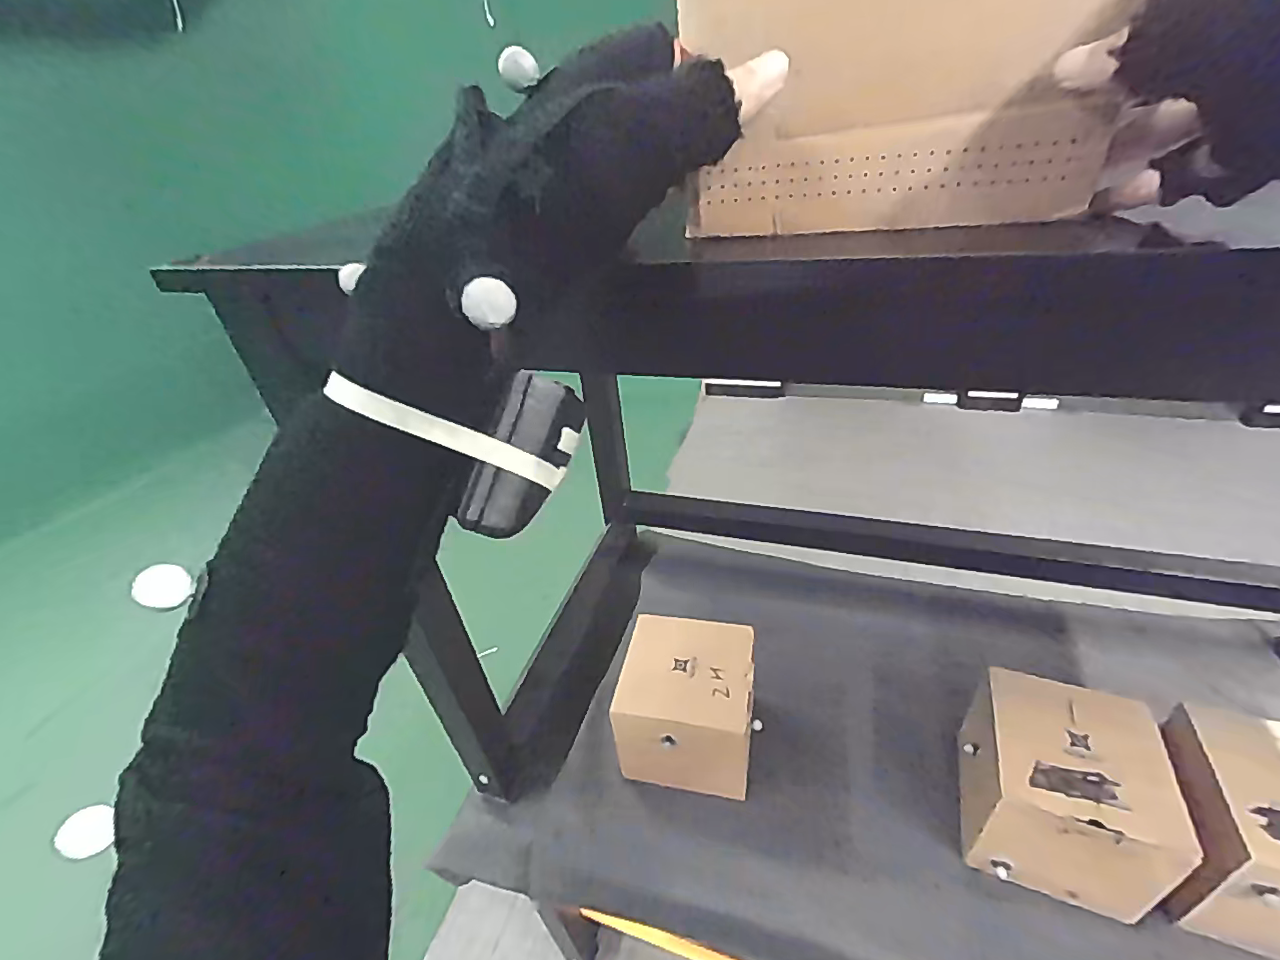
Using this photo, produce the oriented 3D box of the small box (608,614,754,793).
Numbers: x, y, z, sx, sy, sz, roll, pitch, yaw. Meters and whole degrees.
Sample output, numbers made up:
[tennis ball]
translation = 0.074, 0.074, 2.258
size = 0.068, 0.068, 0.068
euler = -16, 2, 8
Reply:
[small box]
translation = 0.068, 0.320, 0.781
size = 0.179, 0.176, 0.168
euler = 4, 36, 15
